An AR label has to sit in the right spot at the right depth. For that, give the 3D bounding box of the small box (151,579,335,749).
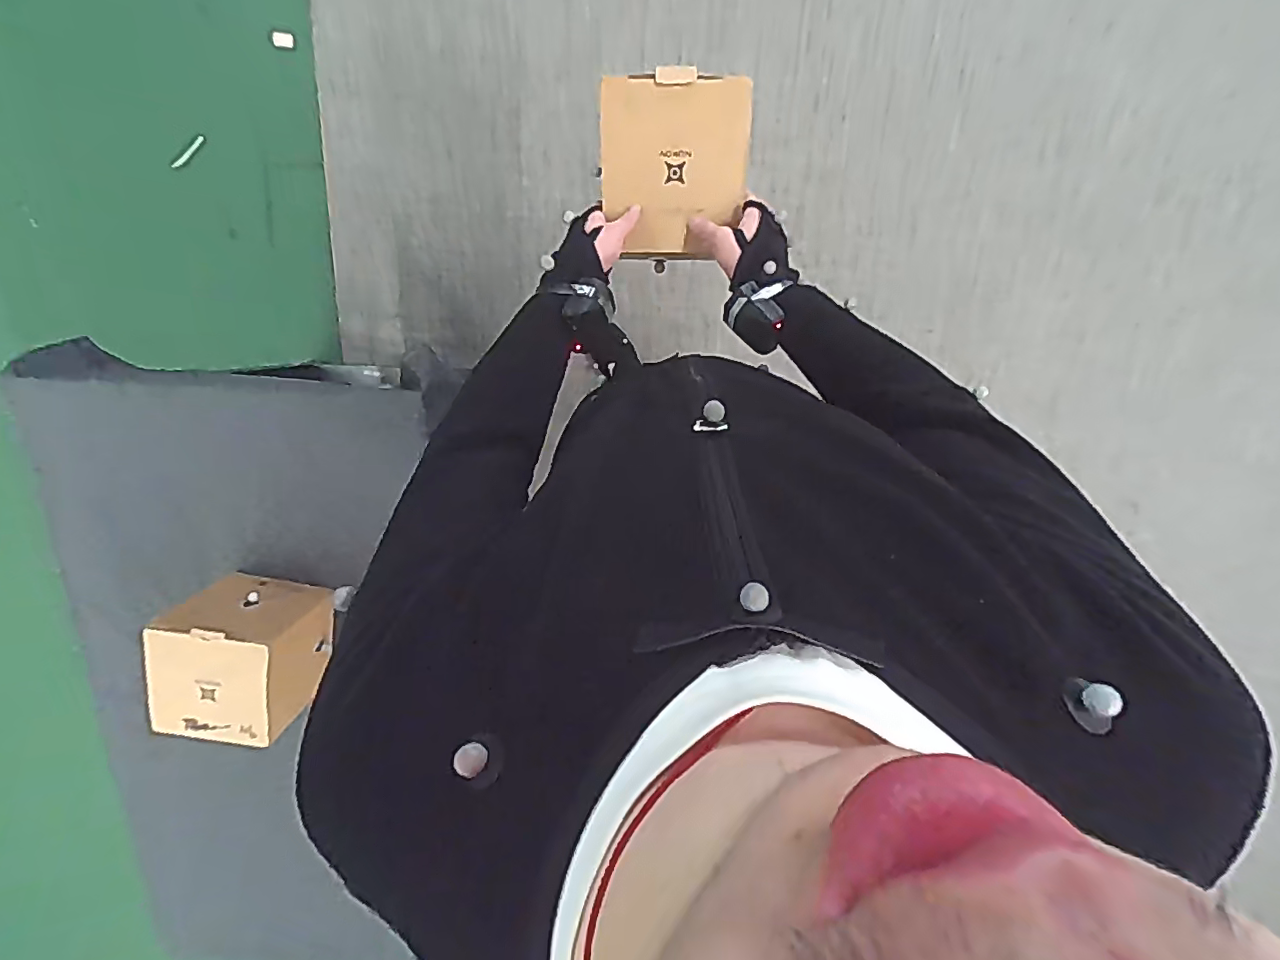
[{"bbox_3d":[-0.596,0.272,0.831,0.168,0.176,0.179,11,104,-3],"label":"small box"}]

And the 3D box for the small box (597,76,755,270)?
[{"bbox_3d":[0.037,-0.361,0.666,0.168,0.176,0.179,3,109,1],"label":"small box"}]
